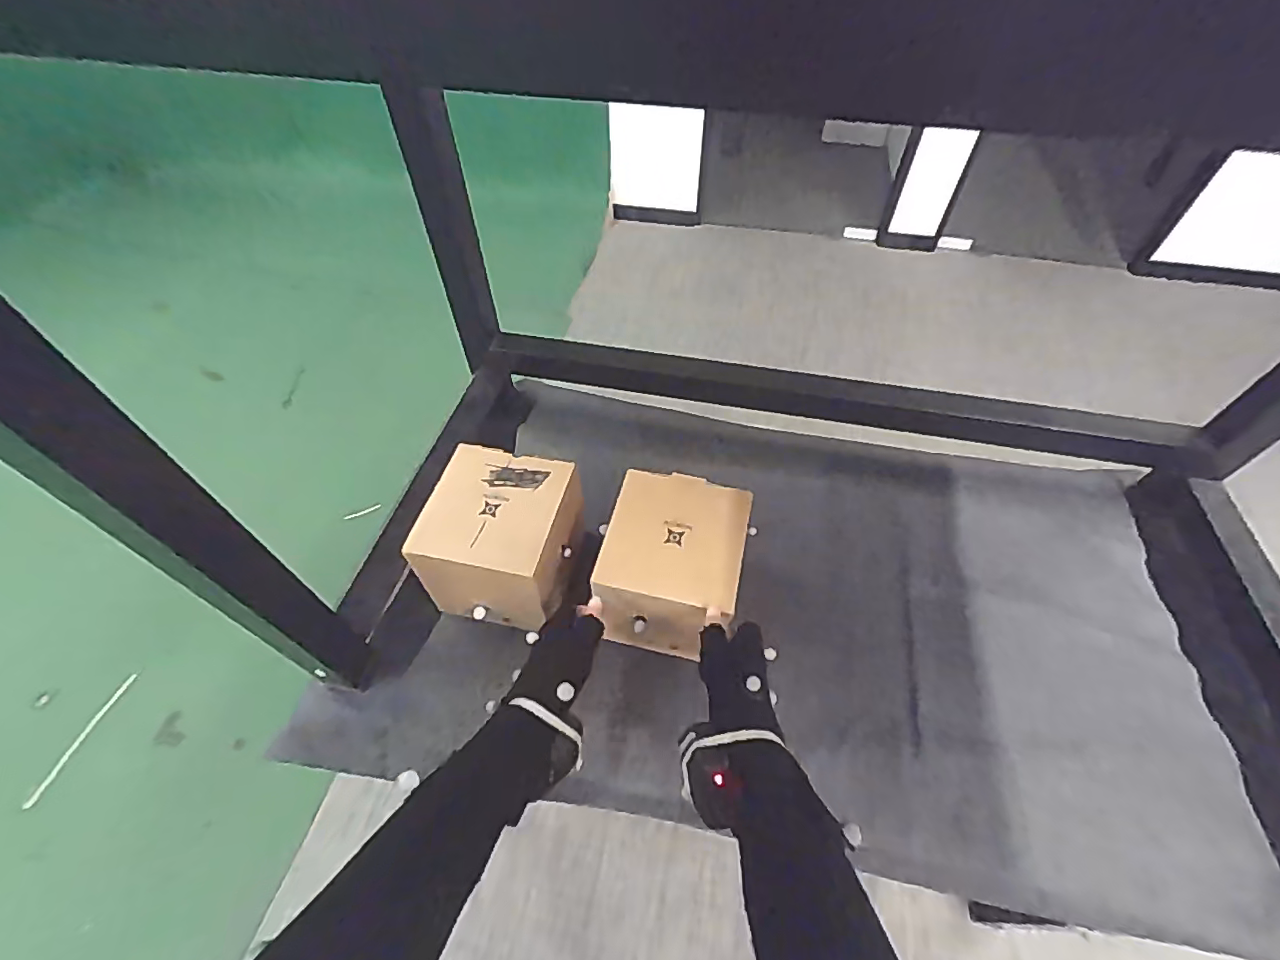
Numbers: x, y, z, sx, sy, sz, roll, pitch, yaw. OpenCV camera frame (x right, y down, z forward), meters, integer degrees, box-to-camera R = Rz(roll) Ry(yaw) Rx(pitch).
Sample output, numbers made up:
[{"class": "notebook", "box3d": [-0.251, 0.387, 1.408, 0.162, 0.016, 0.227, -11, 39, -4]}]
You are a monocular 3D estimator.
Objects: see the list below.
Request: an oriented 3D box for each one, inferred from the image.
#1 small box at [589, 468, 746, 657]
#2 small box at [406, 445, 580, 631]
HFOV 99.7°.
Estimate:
[{"class": "small box", "box3d": [0.040, 0.114, 0.722, 0.168, 0.176, 0.179, 11, 51, 8]}, {"class": "small box", "box3d": [-0.184, 0.081, 0.745, 0.168, 0.176, 0.179, 10, 52, 7]}]
